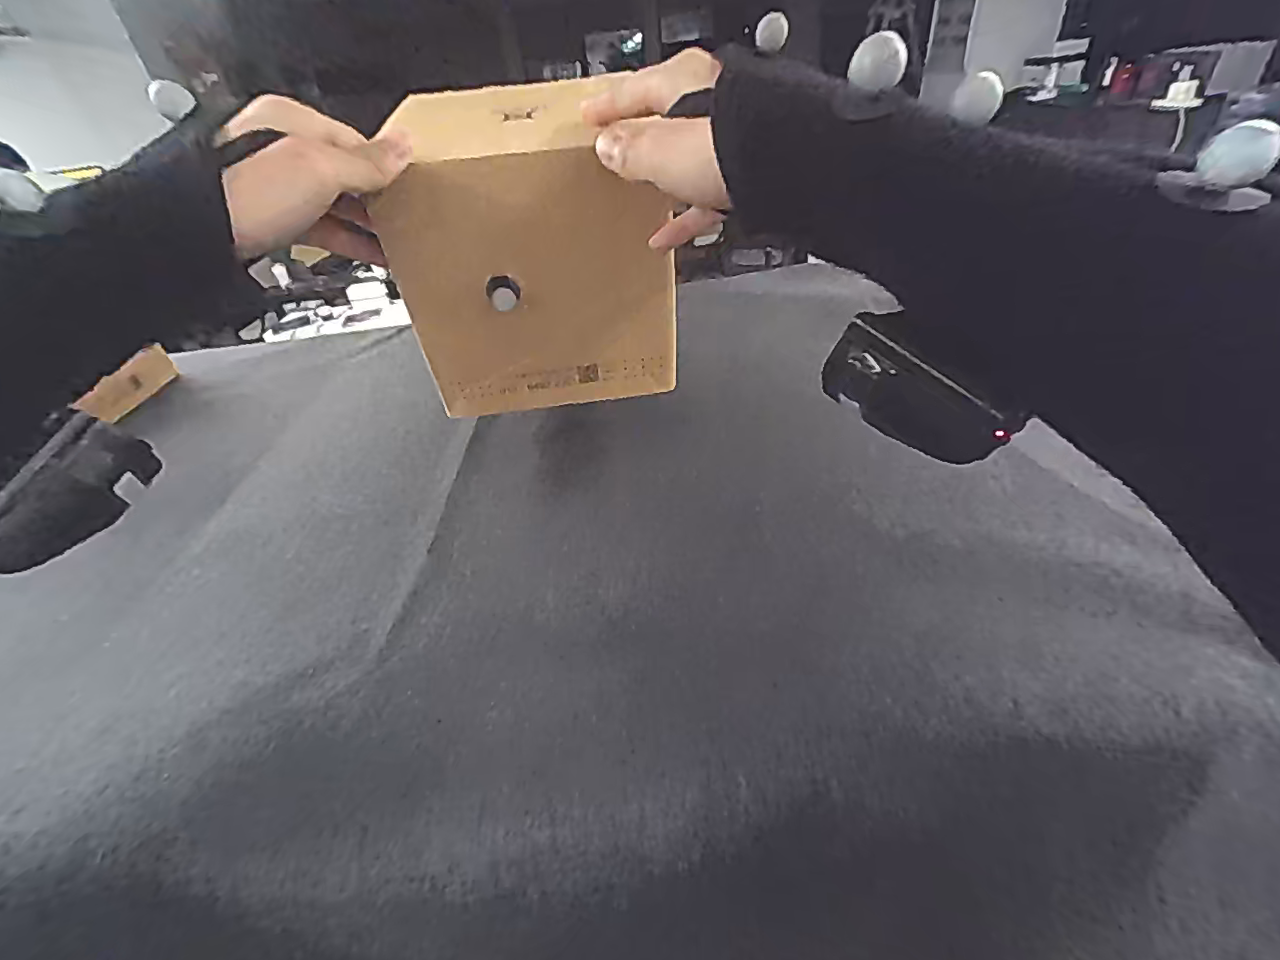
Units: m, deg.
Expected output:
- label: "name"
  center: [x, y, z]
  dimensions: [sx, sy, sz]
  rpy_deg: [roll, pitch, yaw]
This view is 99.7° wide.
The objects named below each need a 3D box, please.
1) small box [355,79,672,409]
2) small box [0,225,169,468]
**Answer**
- label: "small box"
  center: [-0.071, -0.165, 0.393]
  dimensions: [0.168, 0.176, 0.179]
  rpy_deg: [-8, 45, -3]
- label: "small box"
  center: [-0.606, -0.119, 0.499]
  dimensions: [0.179, 0.176, 0.168]
  rpy_deg: [-7, 37, -1]
